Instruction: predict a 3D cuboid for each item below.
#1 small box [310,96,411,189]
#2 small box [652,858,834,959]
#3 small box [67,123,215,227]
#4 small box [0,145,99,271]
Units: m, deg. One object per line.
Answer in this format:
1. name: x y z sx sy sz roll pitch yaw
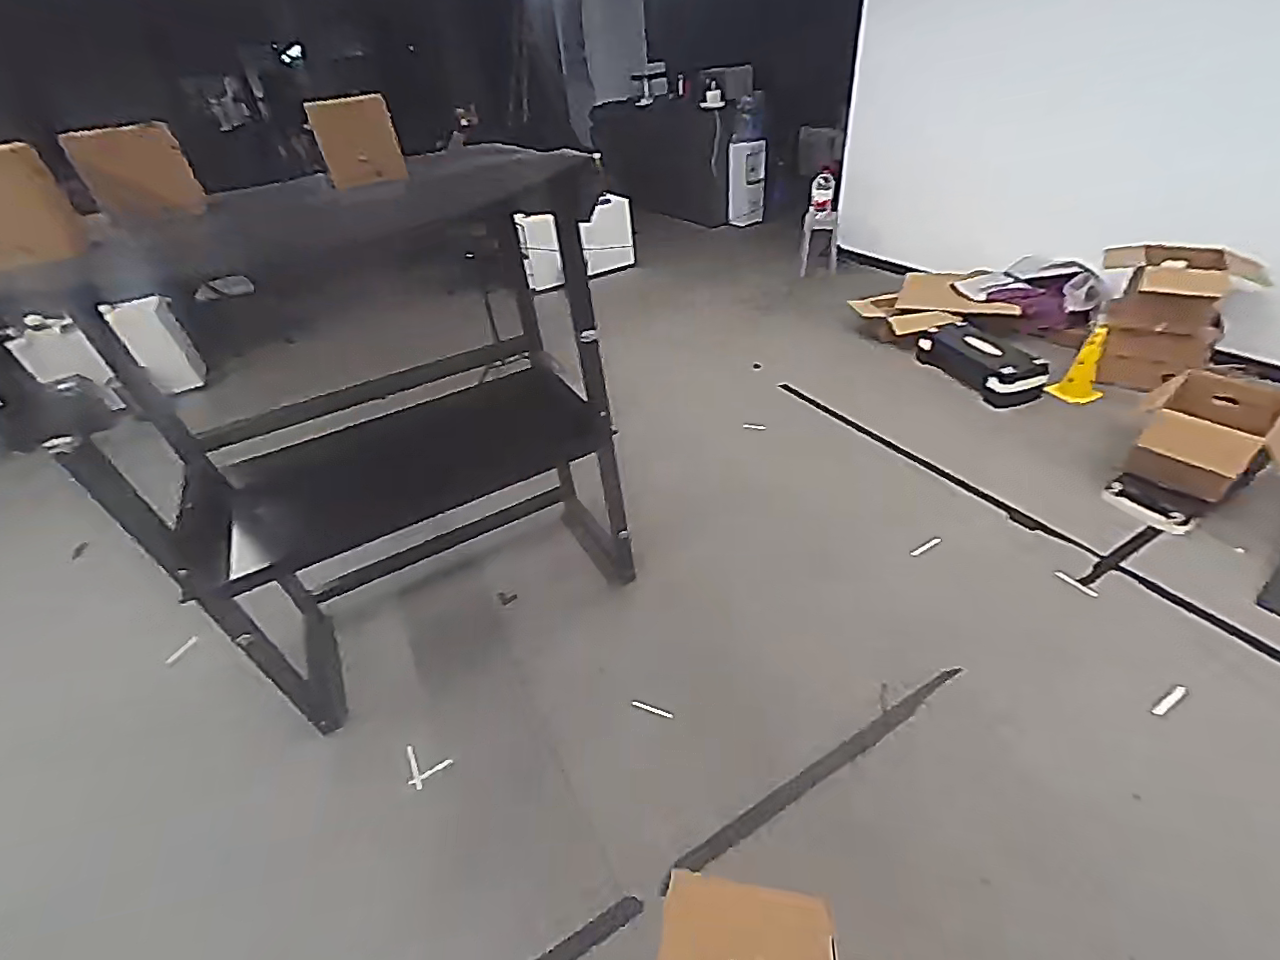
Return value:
1. small box: -0.675 -0.820 1.312 0.168 0.176 0.179 -22 41 -17
2. small box: 0.108 0.543 0.570 0.179 0.176 0.168 1 32 15
3. small box: -1.068 -0.662 1.177 0.168 0.176 0.179 -23 40 -19
4. small box: -1.105 -0.474 0.945 0.168 0.176 0.179 -26 42 -23
